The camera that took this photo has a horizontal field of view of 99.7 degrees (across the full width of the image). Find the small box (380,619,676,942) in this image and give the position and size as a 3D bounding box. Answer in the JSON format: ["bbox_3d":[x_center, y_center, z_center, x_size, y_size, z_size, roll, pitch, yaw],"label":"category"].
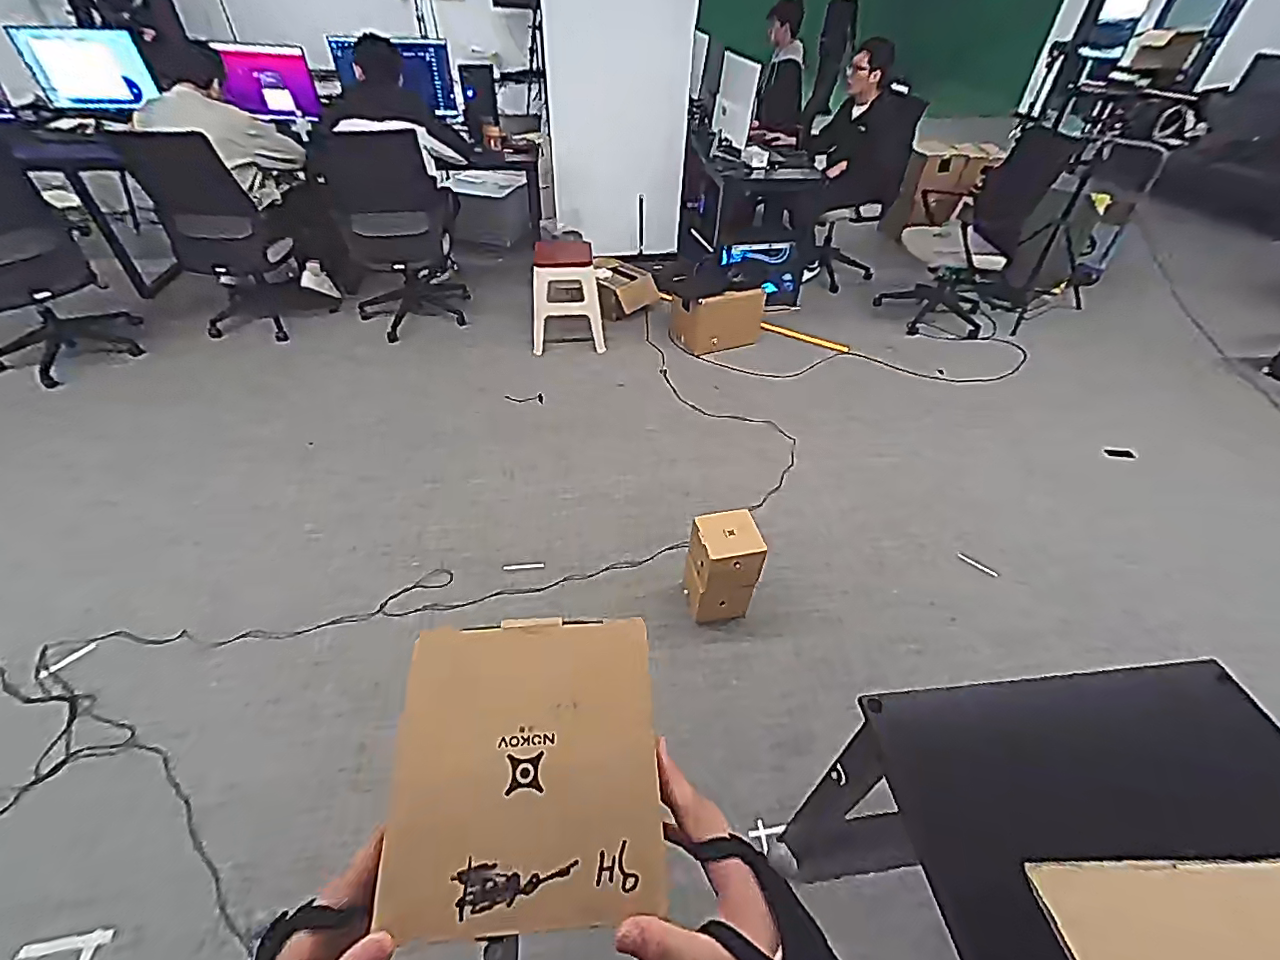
[{"bbox_3d":[-0.067,0.223,0.410,0.168,0.176,0.179,-3,55,-3],"label":"small box"}]

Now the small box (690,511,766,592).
[{"bbox_3d":[0.255,0.218,1.630,0.179,0.176,0.168,-8,45,-12],"label":"small box"}]

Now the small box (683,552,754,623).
[{"bbox_3d":[0.245,0.338,1.739,0.179,0.176,0.168,-7,44,-9],"label":"small box"}]
